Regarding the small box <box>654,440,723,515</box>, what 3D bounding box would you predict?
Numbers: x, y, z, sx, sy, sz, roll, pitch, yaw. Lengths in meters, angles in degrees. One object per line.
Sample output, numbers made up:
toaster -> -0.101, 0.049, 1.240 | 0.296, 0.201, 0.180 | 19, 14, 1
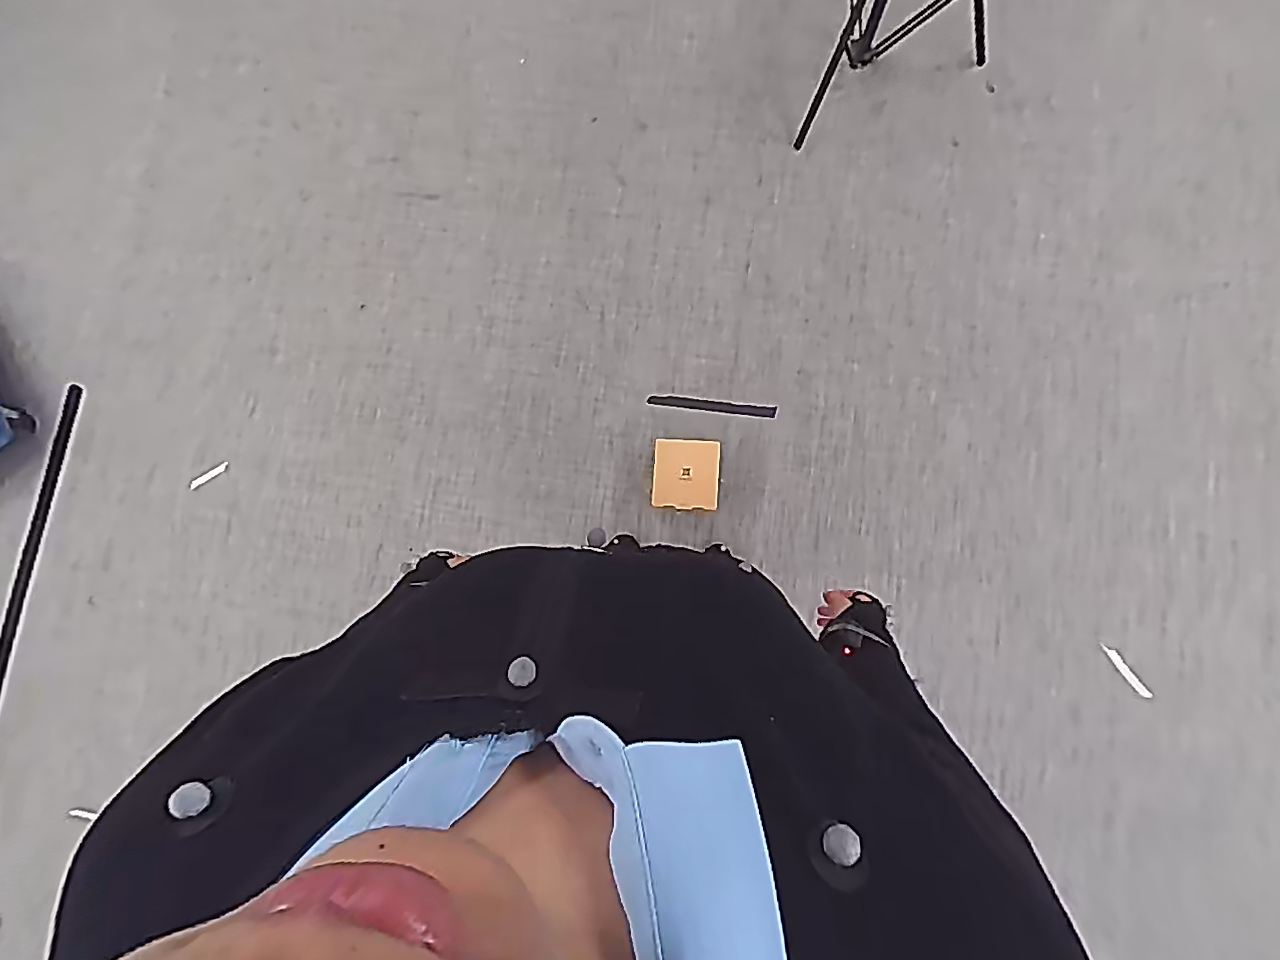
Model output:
small box -> 0.127, -0.002, 1.434 | 0.168, 0.176, 0.179 | 3, 84, 5
